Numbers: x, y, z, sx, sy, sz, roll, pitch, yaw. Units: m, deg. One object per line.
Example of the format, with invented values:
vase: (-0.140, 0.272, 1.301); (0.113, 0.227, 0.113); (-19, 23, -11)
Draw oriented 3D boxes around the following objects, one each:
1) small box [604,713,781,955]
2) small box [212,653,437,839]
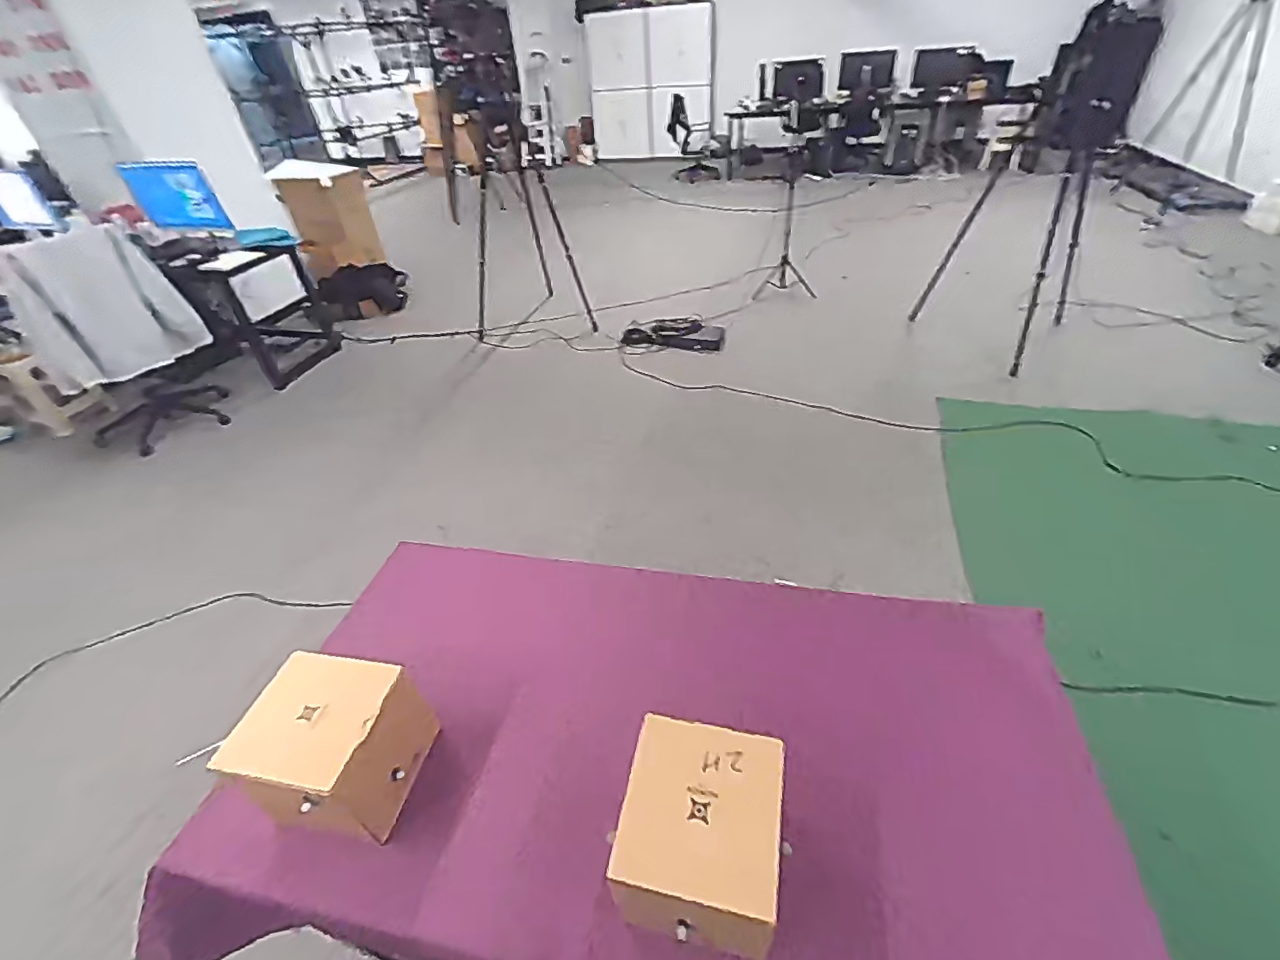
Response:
small box: (0.070, 0.408, 0.628); (0.168, 0.176, 0.179); (6, 40, 14)
small box: (-0.417, 0.367, 0.748); (0.179, 0.176, 0.168); (4, 39, 11)
